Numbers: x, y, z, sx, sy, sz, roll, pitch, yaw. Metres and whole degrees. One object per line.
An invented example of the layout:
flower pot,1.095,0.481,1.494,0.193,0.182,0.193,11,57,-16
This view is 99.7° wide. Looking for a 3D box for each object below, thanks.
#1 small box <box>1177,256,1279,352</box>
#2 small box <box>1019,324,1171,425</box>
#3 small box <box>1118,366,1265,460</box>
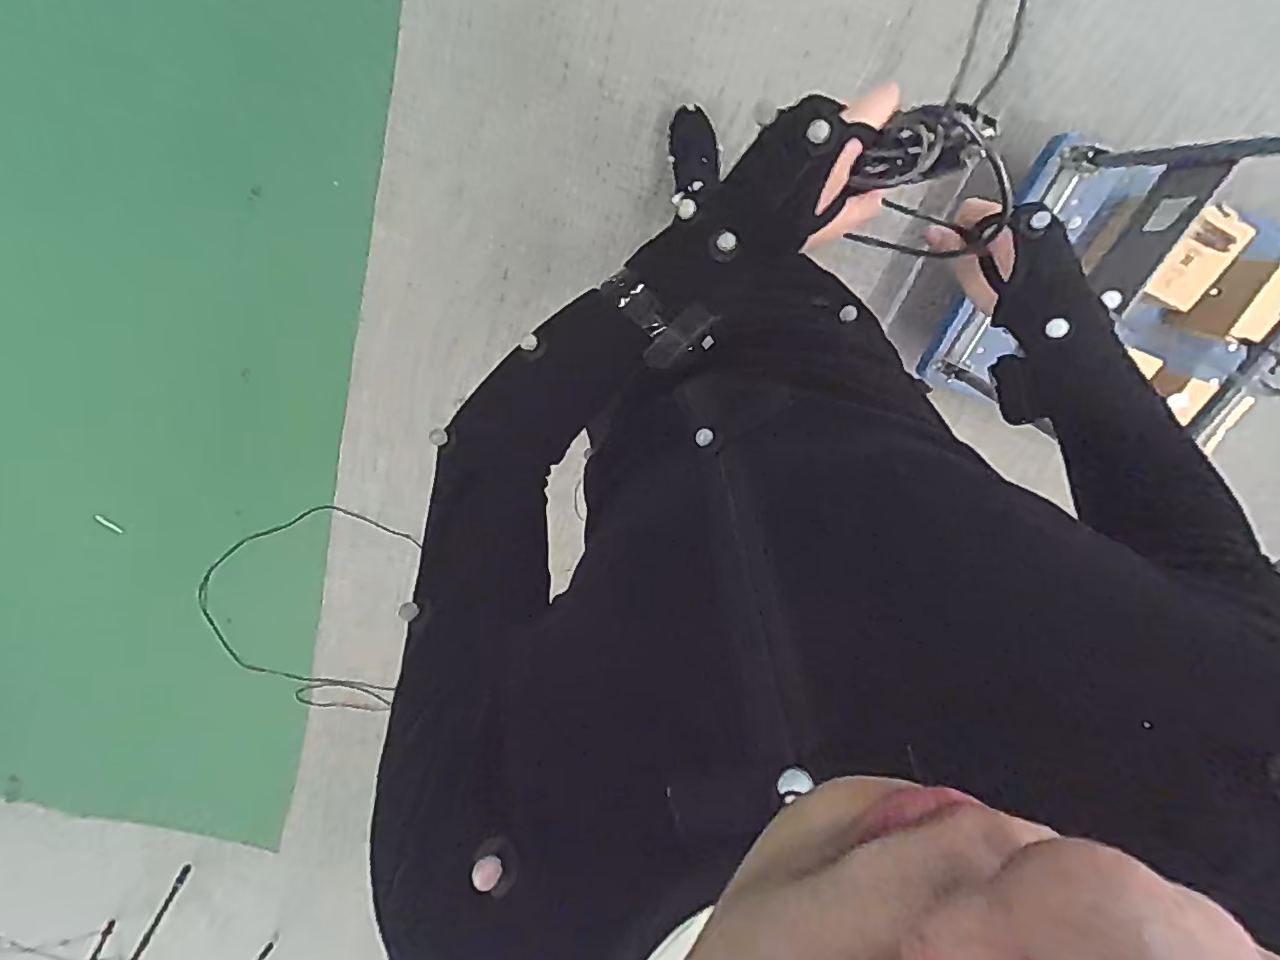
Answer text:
small box,1.385,-0.393,1.206,0.179,0.176,0.168,14,117,-6
small box,1.065,-0.257,1.282,0.179,0.176,0.168,18,116,-7
small box,1.313,-0.173,1.319,0.179,0.176,0.168,16,115,-6
